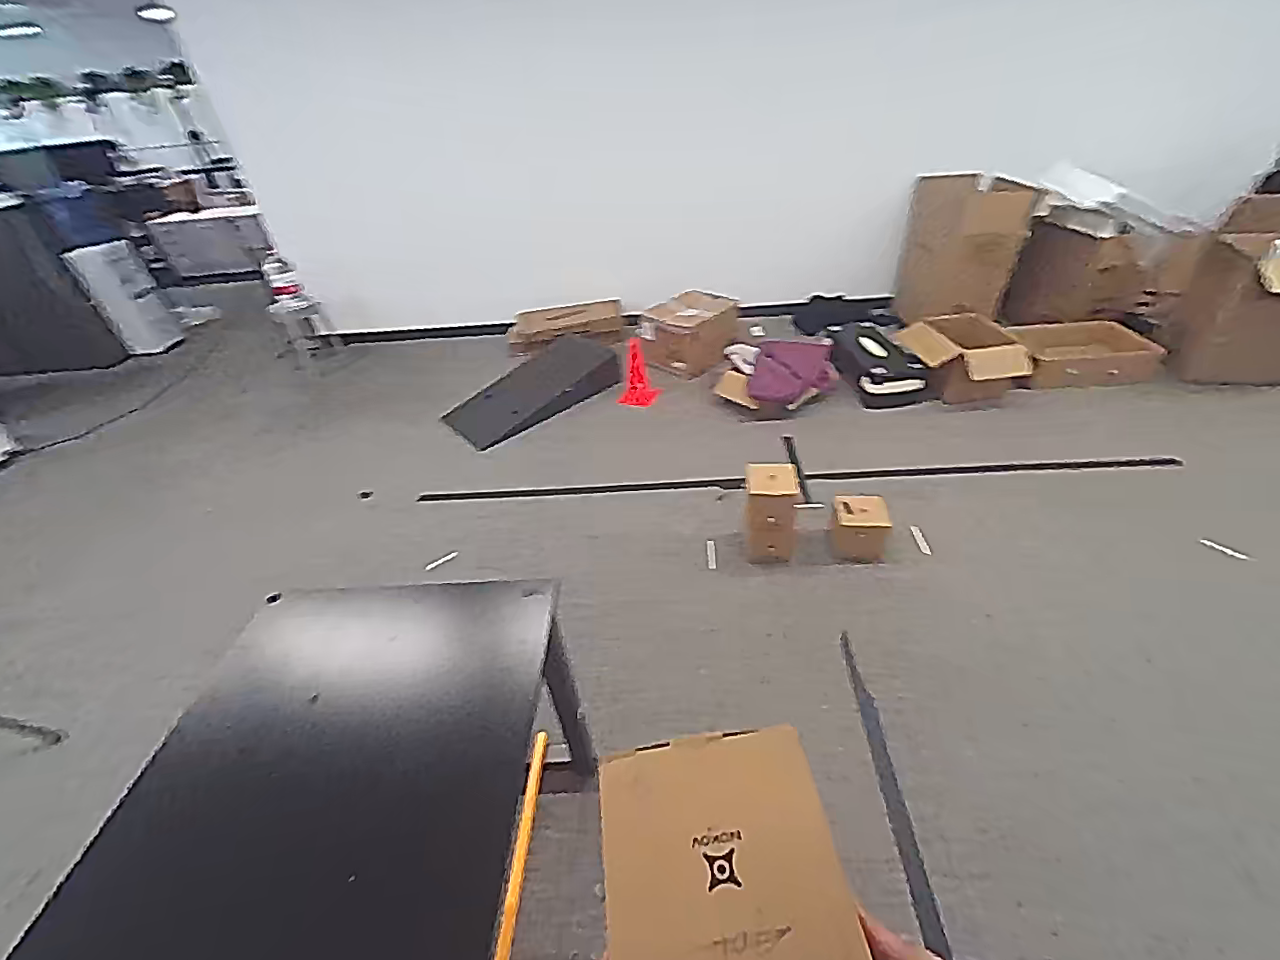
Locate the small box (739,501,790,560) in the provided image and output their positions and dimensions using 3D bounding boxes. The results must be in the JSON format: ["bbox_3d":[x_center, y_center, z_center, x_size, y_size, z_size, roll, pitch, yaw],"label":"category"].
[{"bbox_3d":[0.471,0.193,2.064,0.168,0.176,0.179,-3,38,4],"label":"small box"}]

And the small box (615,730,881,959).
[{"bbox_3d":[0.073,0.330,0.432,0.168,0.176,0.179,-8,42,0],"label":"small box"}]

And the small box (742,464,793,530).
[{"bbox_3d":[0.459,0.061,1.964,0.168,0.176,0.179,0,38,8],"label":"small box"}]

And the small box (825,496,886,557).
[{"bbox_3d":[0.805,0.177,2.042,0.179,0.176,0.168,0,39,6],"label":"small box"}]
